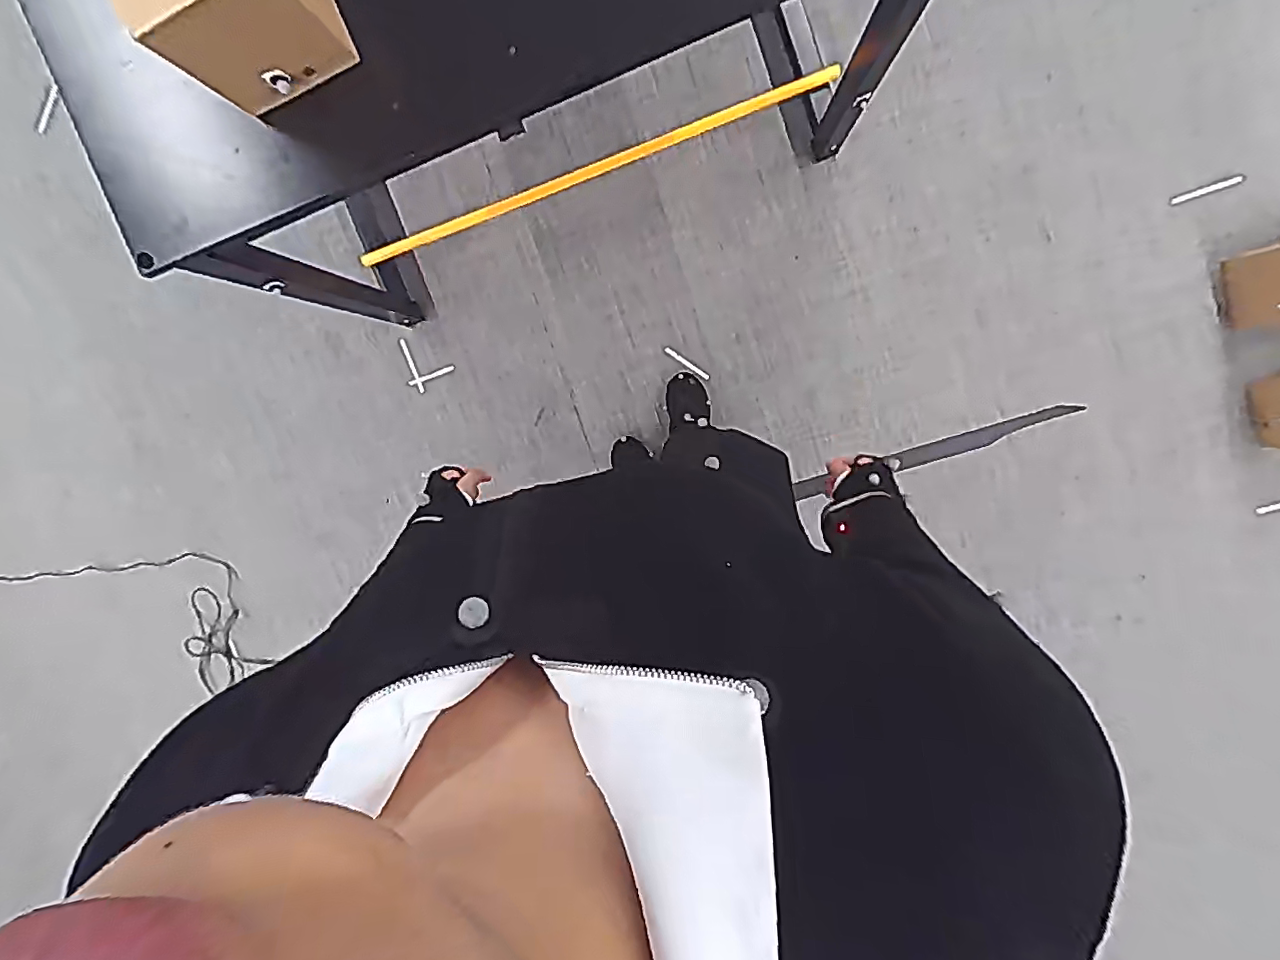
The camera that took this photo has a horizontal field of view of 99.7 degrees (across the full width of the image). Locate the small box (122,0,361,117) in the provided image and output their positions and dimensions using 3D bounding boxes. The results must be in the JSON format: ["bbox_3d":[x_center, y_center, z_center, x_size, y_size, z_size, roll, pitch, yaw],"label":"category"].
[{"bbox_3d":[-0.470,-0.575,0.624,0.168,0.176,0.179,-22,97,8],"label":"small box"}]

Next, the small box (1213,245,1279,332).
[{"bbox_3d":[1.471,-0.444,1.223,0.168,0.176,0.179,-17,97,7],"label":"small box"}]

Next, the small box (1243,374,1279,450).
[{"bbox_3d":[1.579,-0.168,1.259,0.179,0.176,0.168,-21,97,8],"label":"small box"}]
